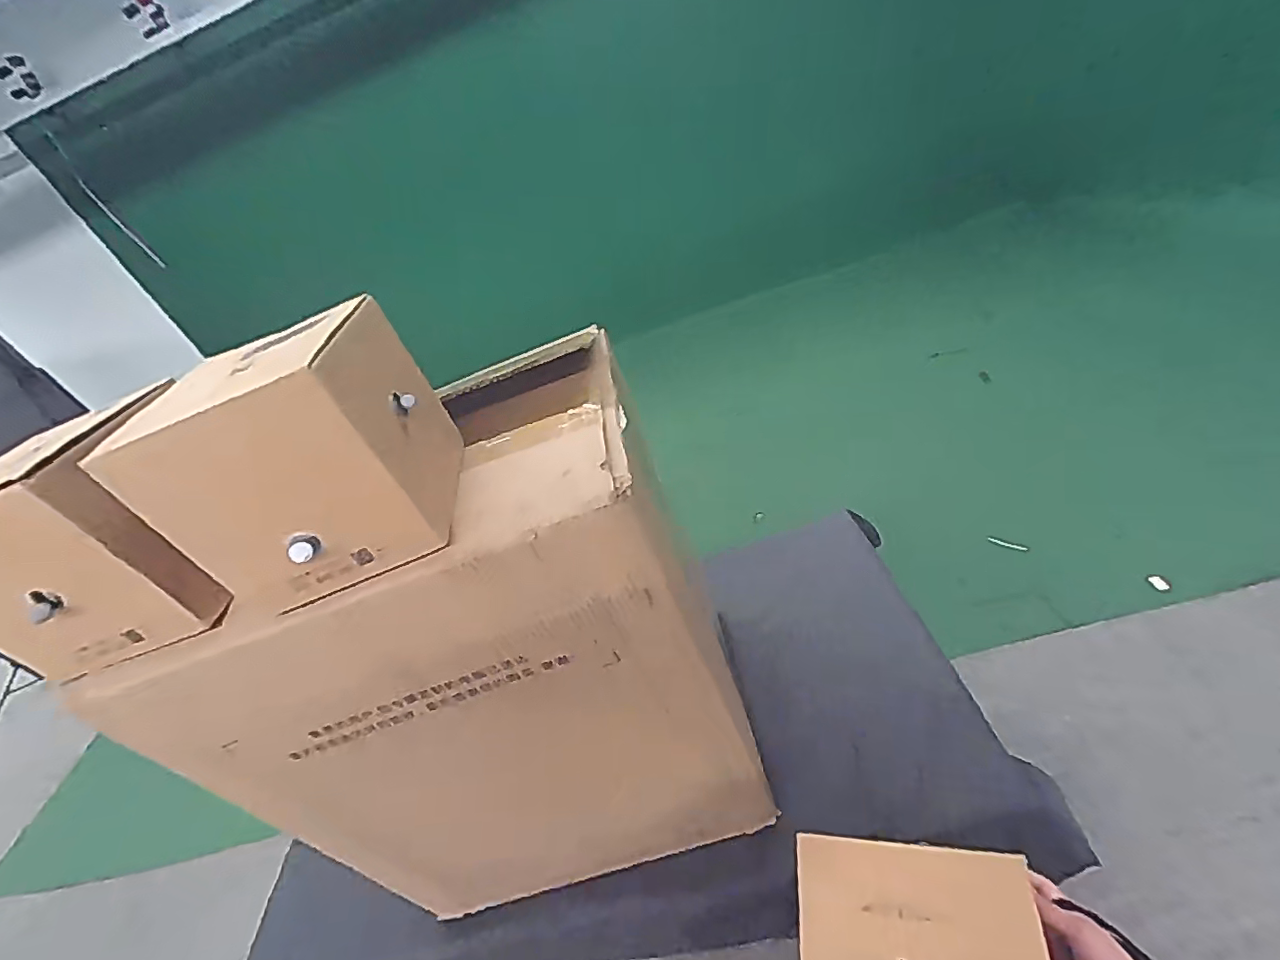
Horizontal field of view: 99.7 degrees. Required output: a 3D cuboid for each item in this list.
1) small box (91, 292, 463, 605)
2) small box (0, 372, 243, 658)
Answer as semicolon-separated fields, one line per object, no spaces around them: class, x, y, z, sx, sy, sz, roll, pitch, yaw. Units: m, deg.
small box;-0.267;-0.029;0.457;0.168;0.176;0.179;-21;37;2
small box;-0.469;0.037;0.489;0.168;0.176;0.179;-19;36;7
